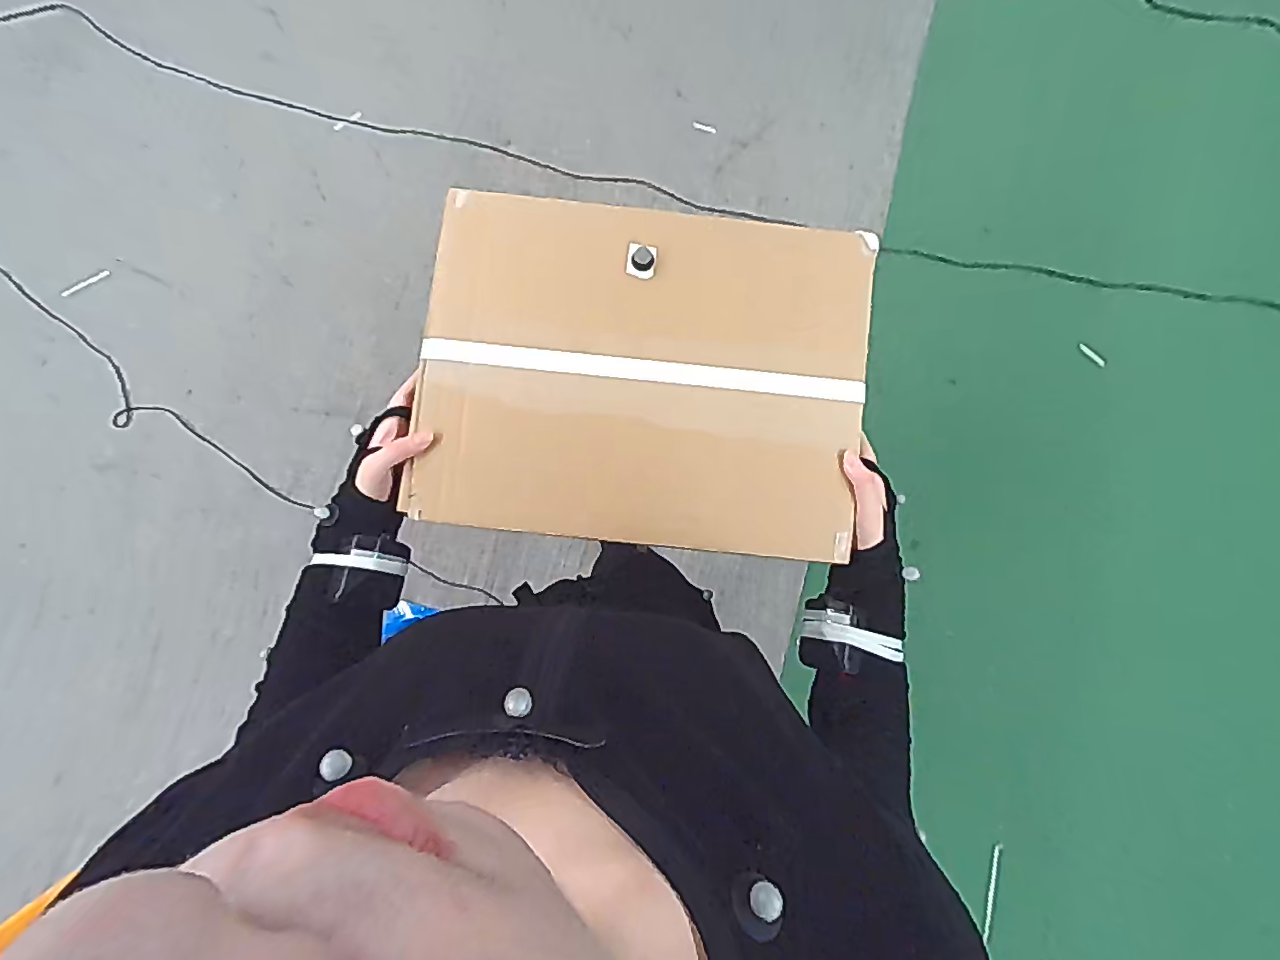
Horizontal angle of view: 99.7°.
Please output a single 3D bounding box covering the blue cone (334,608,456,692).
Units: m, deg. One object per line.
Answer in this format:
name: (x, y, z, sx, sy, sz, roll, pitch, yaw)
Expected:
blue cone: (-0.586, 0.426, 1.261, 0.192, 0.380, 0.193, 13, 84, 0)
